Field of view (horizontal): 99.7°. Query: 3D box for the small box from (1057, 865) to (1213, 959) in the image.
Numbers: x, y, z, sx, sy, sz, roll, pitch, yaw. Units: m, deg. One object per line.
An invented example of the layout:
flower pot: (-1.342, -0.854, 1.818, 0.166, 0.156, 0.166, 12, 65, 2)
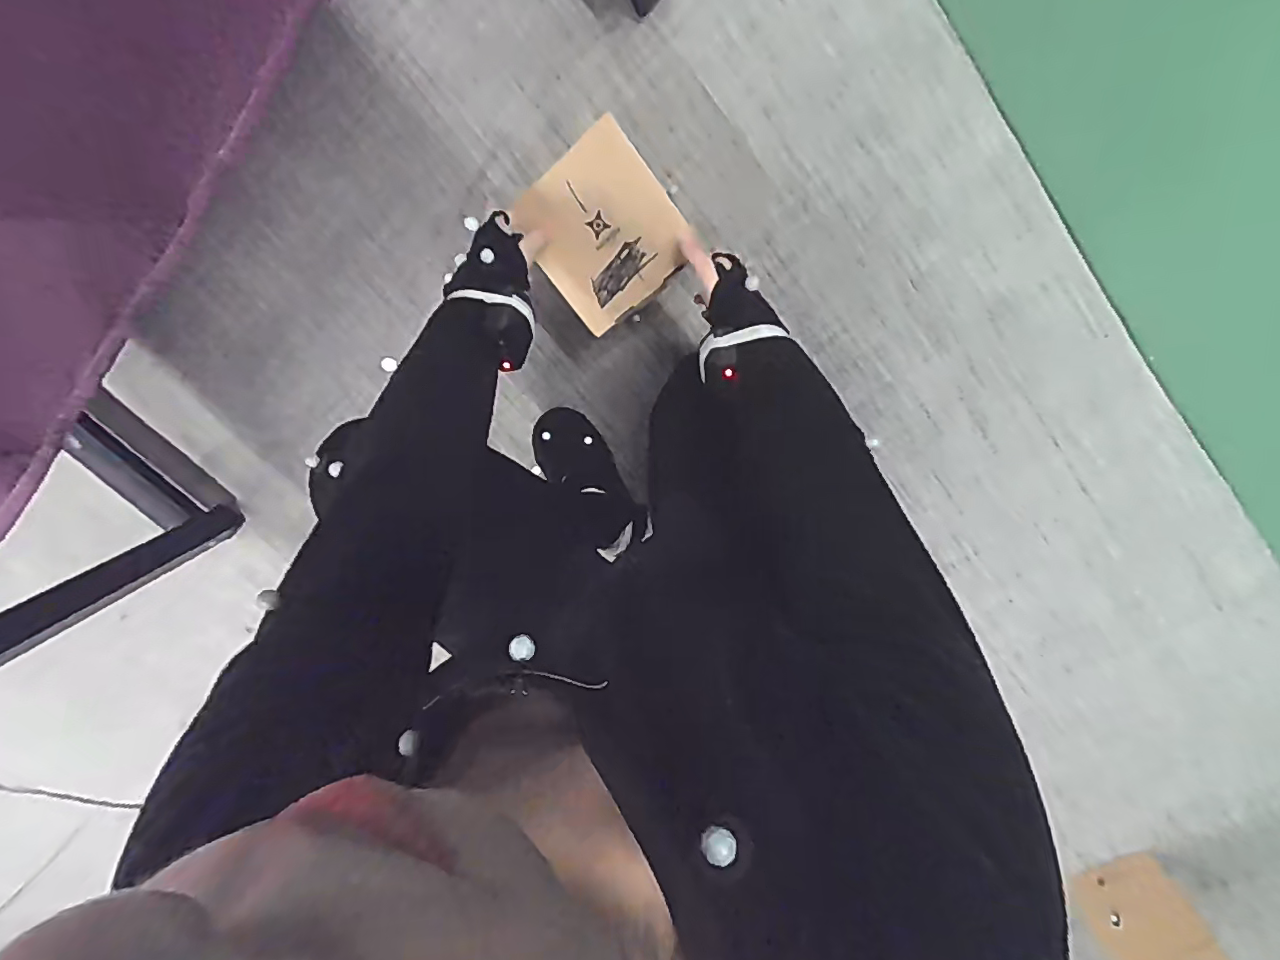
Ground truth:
small box: (0.944, 0.866, 1.018, 0.168, 0.176, 0.179, -38, 102, 21)
